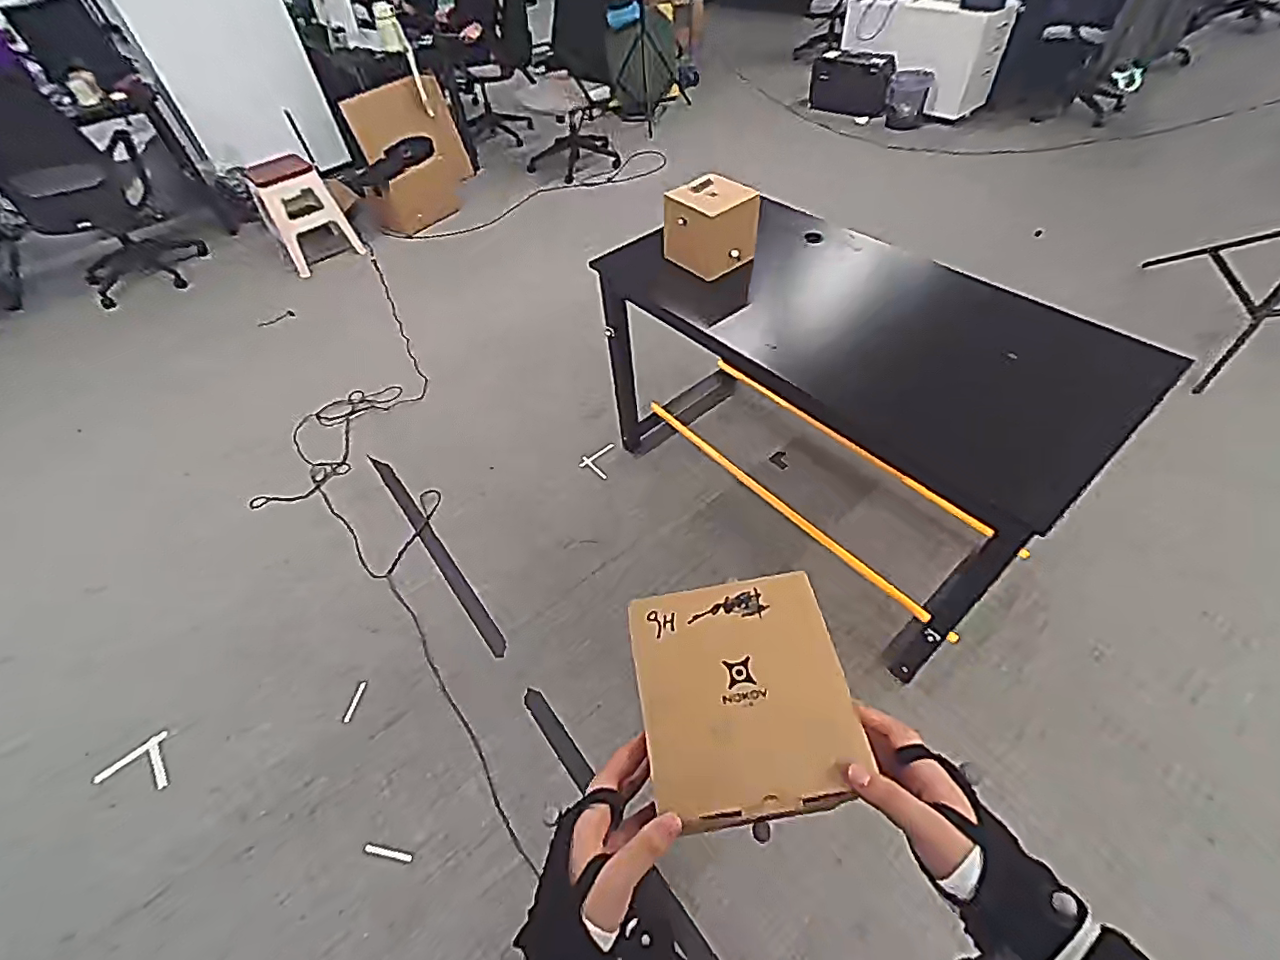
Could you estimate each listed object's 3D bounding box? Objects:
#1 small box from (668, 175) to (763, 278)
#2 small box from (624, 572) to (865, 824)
[{"bbox_3d":[0.185,-0.643,1.375,0.168,0.176,0.179,-34,57,-21],"label":"small box"},{"bbox_3d":[0.083,0.210,0.510,0.168,0.176,0.179,-10,56,-2],"label":"small box"}]
